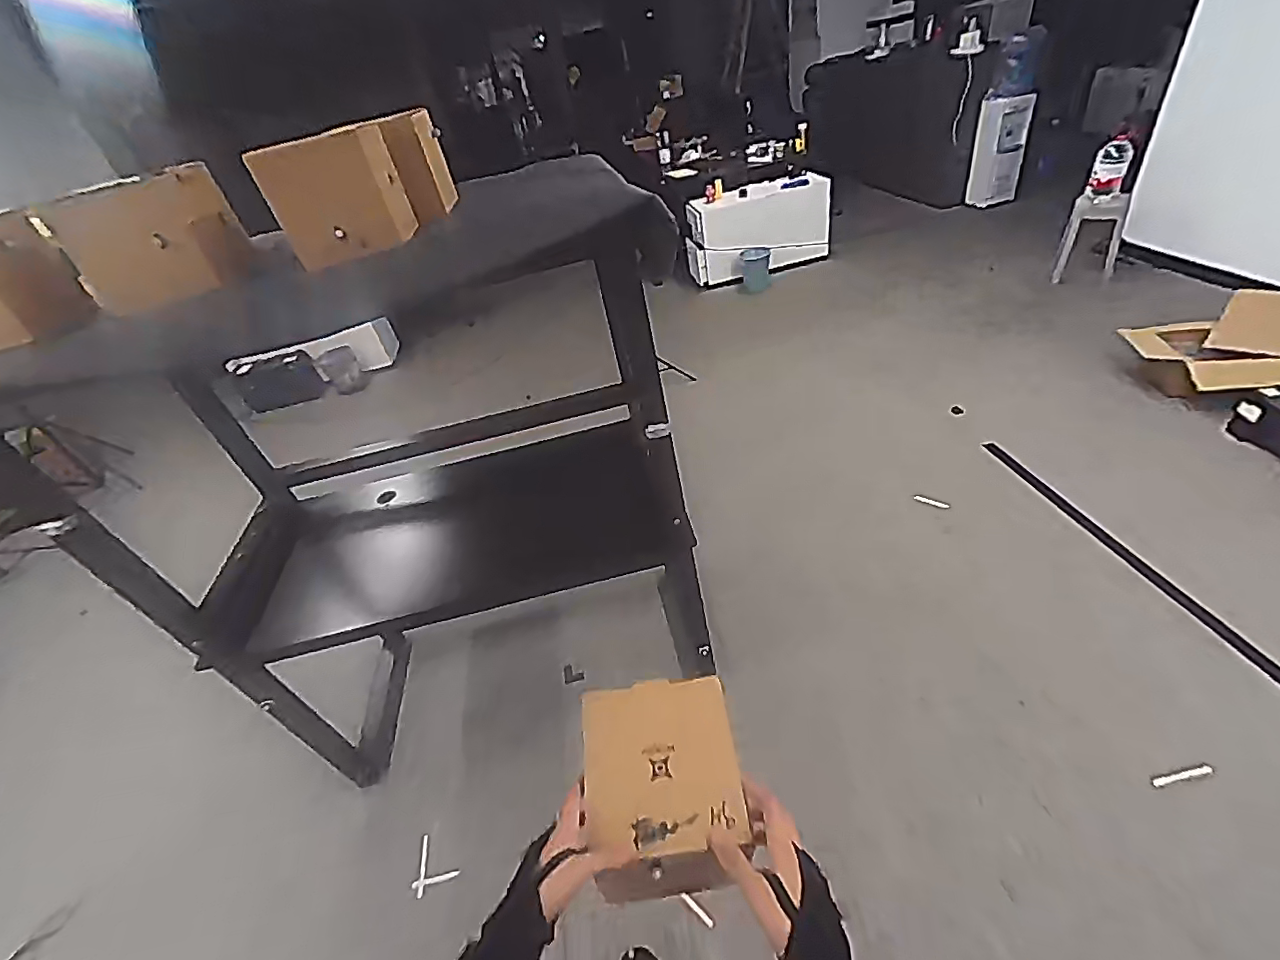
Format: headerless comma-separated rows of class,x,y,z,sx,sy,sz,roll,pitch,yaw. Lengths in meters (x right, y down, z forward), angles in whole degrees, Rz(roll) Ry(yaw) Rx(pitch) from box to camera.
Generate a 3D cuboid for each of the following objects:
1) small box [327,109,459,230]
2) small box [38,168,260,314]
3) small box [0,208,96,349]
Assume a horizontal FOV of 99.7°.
small box,-0.470,-0.609,1.064,0.168,0.176,0.179,-14,38,0
small box,-0.769,-0.389,0.877,0.179,0.176,0.168,-15,36,-4
small box,-1.041,-0.311,0.858,0.168,0.176,0.179,-16,38,-4
